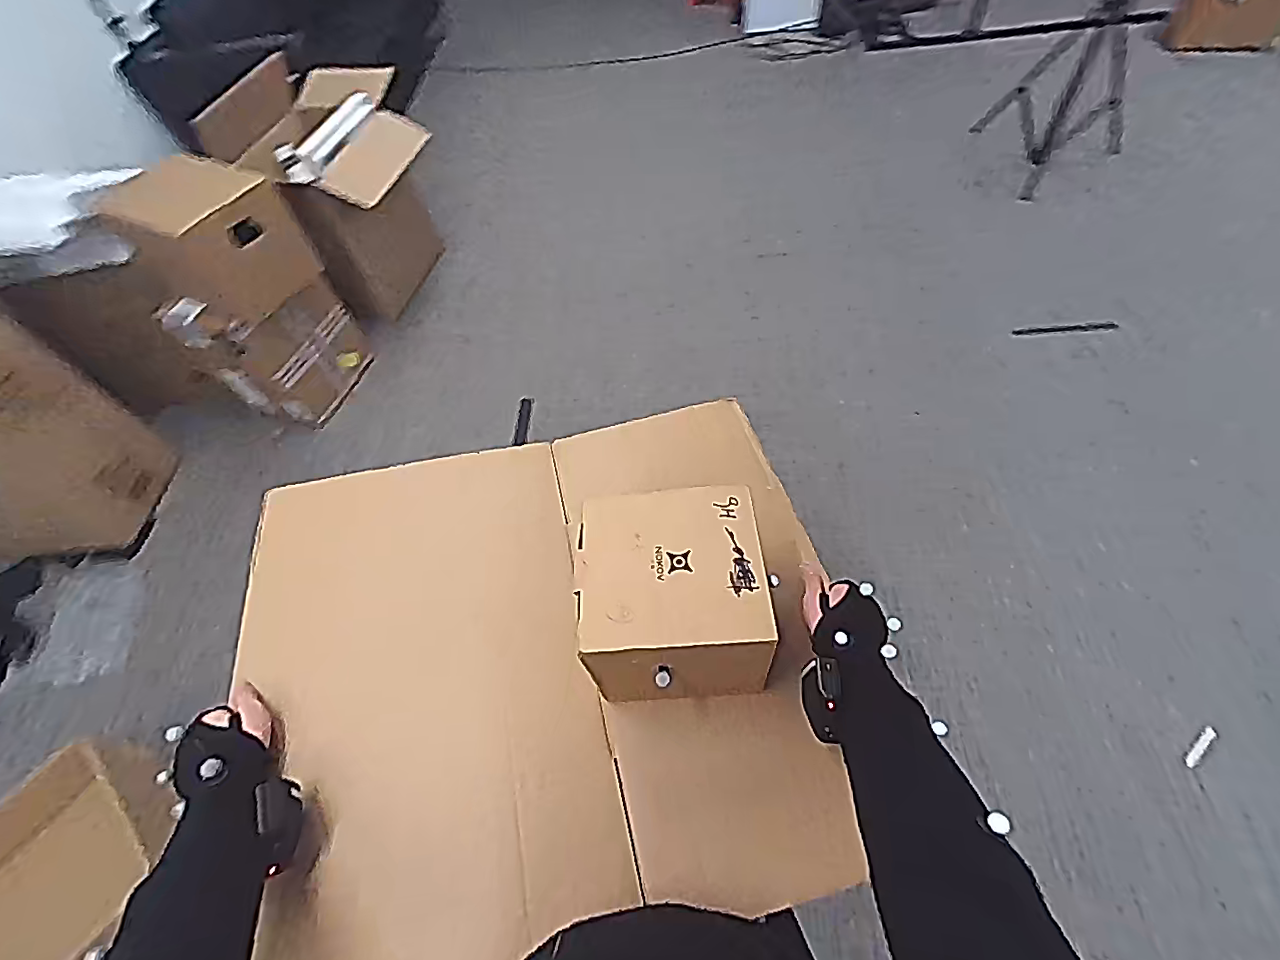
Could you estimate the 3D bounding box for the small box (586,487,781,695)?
[{"bbox_3d":[0.047,0.126,0.586,0.179,0.176,0.168,-5,54,4],"label":"small box"}]
